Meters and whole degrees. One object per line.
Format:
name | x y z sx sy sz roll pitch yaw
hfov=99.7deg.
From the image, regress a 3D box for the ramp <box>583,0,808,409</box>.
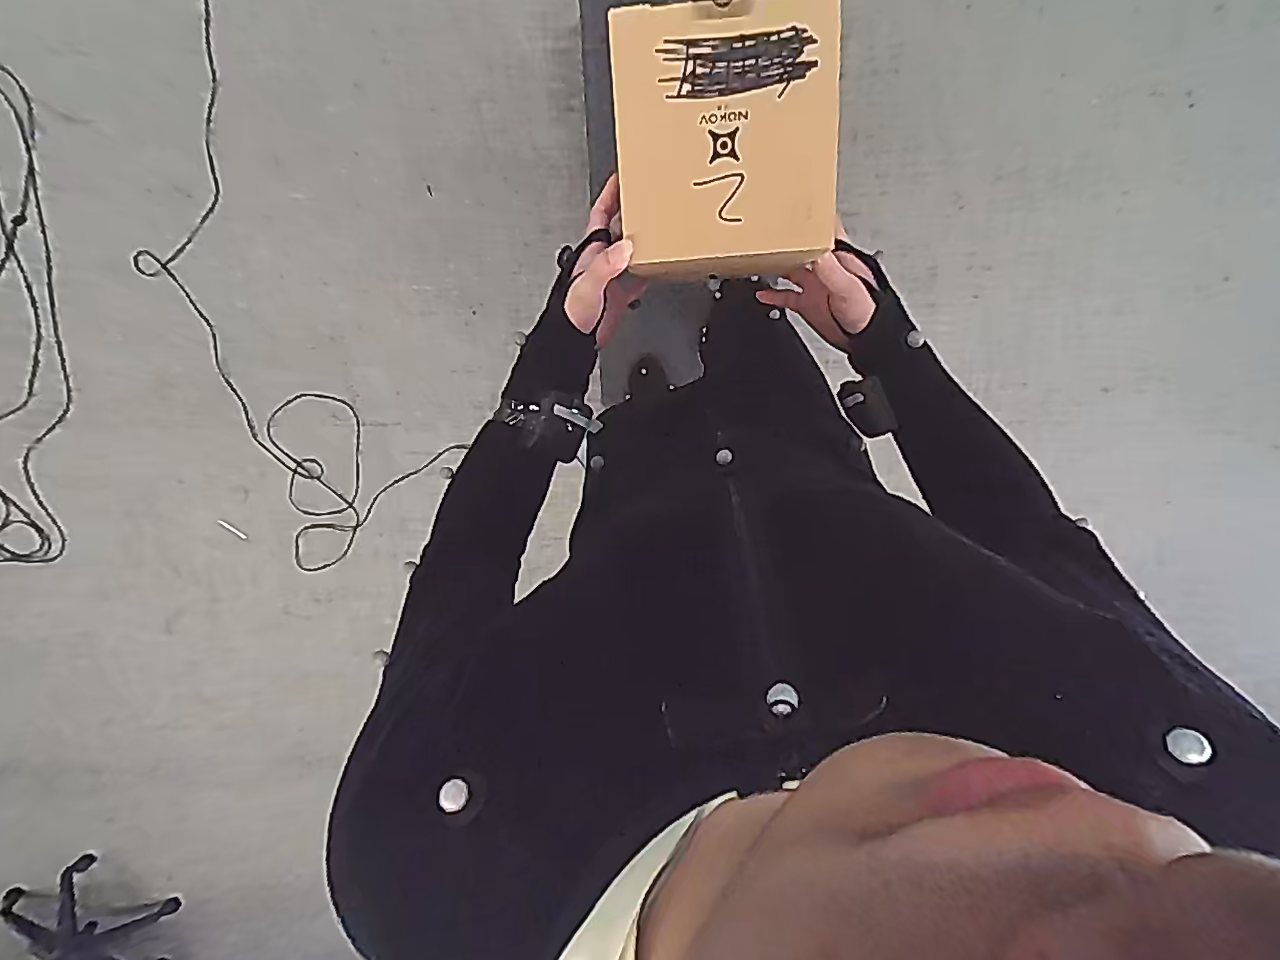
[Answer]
ramp | 0.132 -0.659 1.356 0.509 0.206 0.991 -3 106 0
